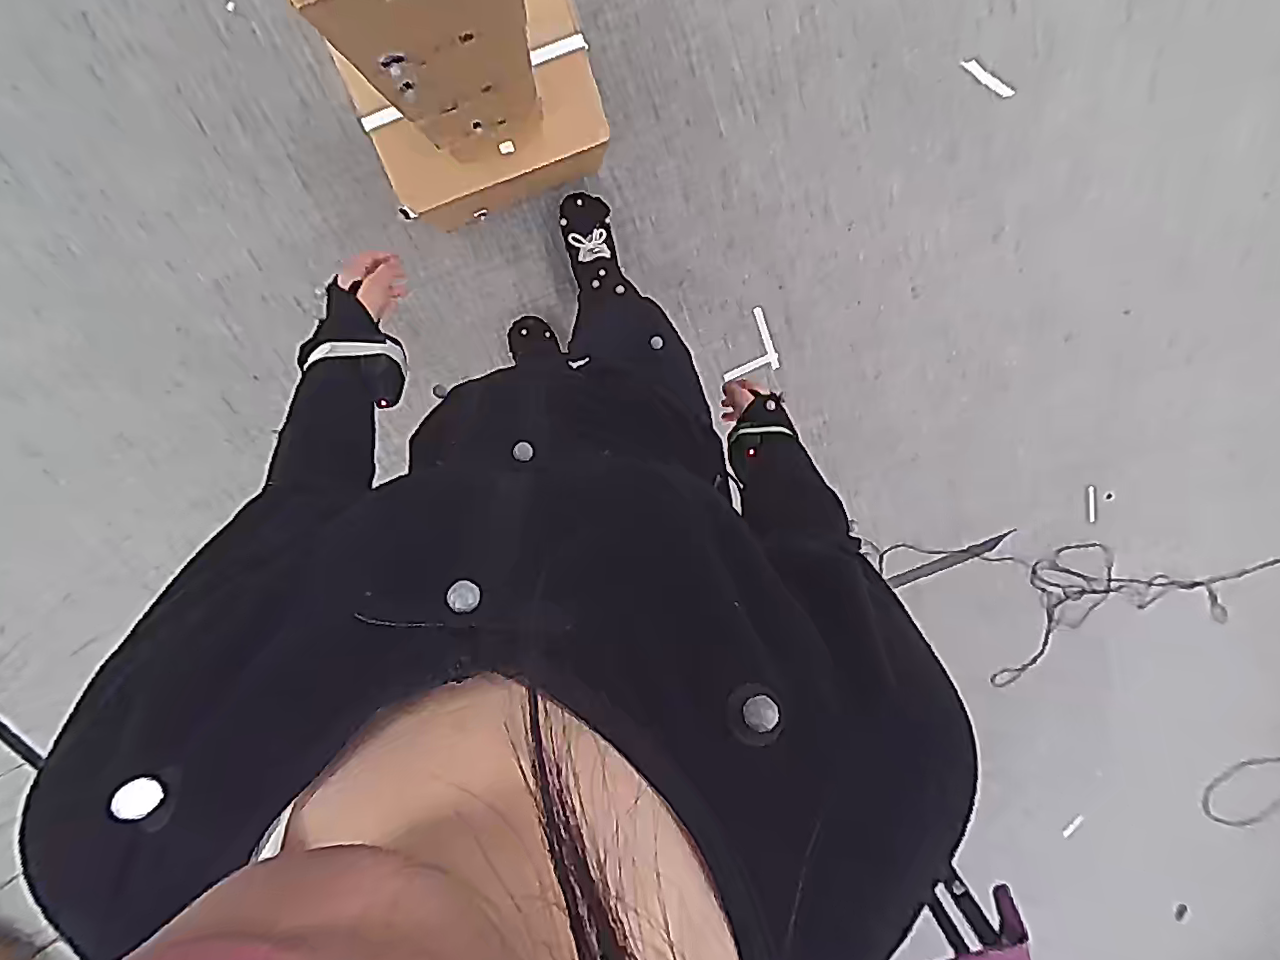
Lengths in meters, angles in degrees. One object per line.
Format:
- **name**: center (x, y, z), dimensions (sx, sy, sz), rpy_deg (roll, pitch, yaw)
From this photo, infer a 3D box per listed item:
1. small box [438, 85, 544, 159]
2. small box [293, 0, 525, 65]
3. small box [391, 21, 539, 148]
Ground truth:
- **small box**: center (-0.264, -0.640, 0.861), dimensions (0.179, 0.176, 0.168), rpy_deg (-23, 113, 0)
- **small box**: center (-0.197, -0.455, 0.412), dimensions (0.168, 0.176, 0.179), rpy_deg (-20, 112, 0)
- **small box**: center (-0.243, -0.575, 0.714), dimensions (0.168, 0.176, 0.179), rpy_deg (-22, 113, 1)
